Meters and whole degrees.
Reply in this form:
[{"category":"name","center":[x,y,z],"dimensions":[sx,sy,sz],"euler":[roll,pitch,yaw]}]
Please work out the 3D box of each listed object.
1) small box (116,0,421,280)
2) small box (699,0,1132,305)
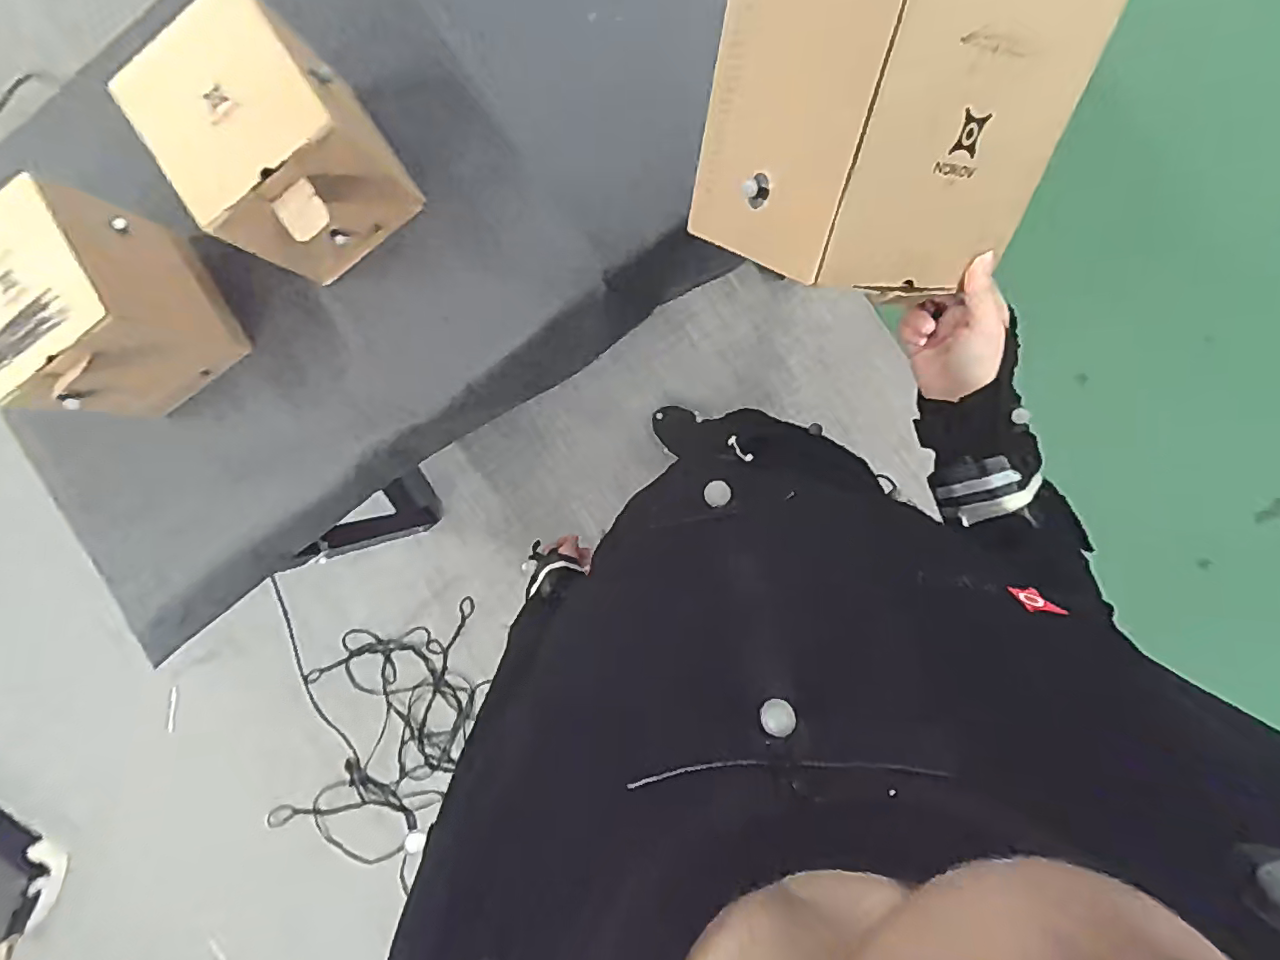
[{"category":"small box","center":[-0.382,-0.353,0.586],"dimensions":[0.168,0.176,0.179],"euler":[-34,88,7]},{"category":"small box","center":[0.159,-0.235,0.374],"dimensions":[0.168,0.176,0.179],"euler":[-8,126,-25]}]
